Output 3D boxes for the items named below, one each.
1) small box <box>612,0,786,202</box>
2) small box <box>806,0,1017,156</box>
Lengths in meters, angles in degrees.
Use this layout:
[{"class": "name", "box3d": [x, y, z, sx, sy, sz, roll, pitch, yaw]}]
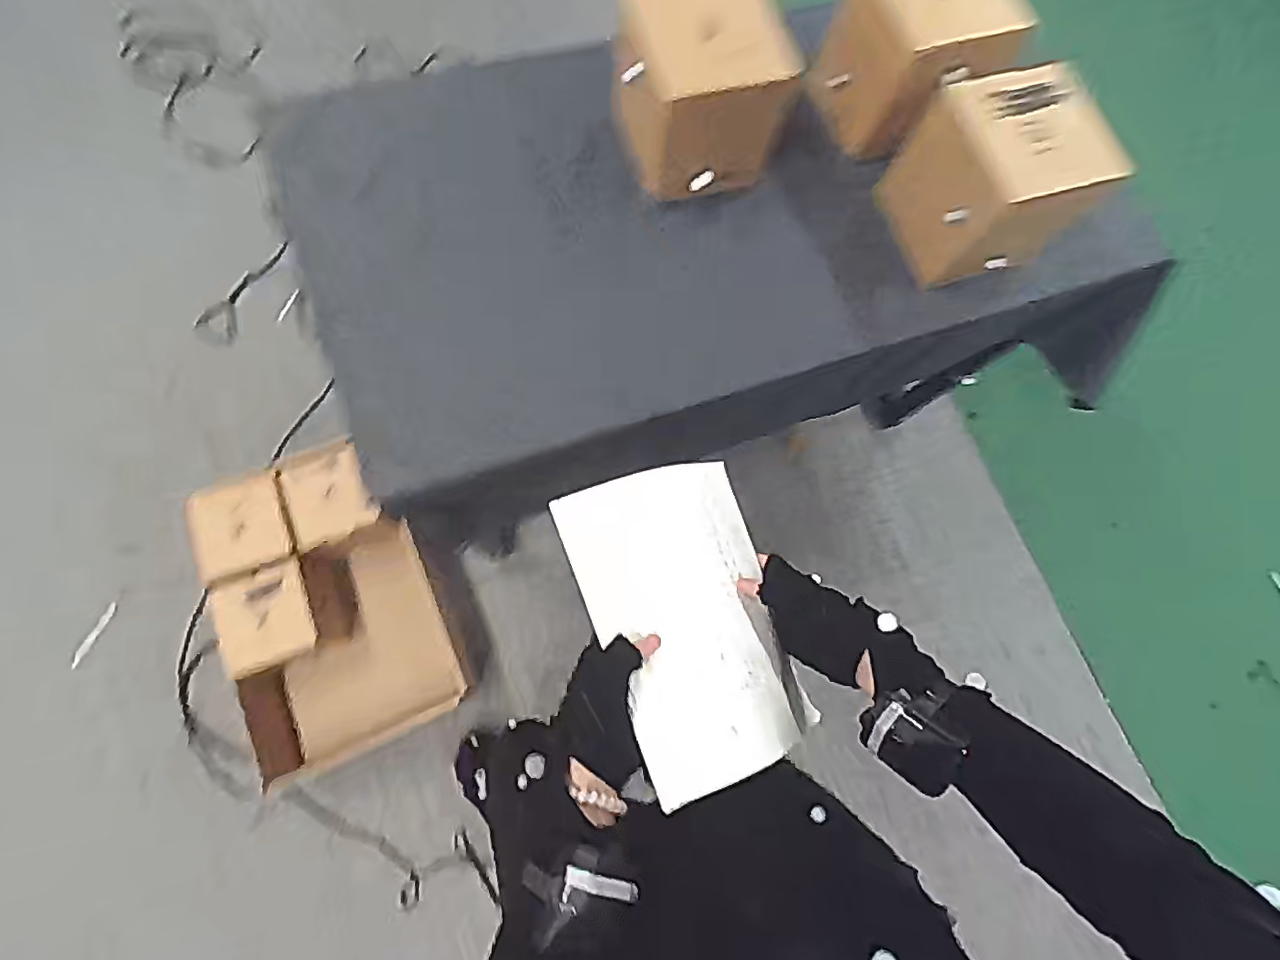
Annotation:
[{"class": "small box", "box3d": [0.063, -0.510, 0.717, 0.168, 0.176, 0.179, -16, 78, -8]}, {"class": "small box", "box3d": [0.369, -0.605, 0.770, 0.179, 0.176, 0.168, -19, 77, -9]}]
